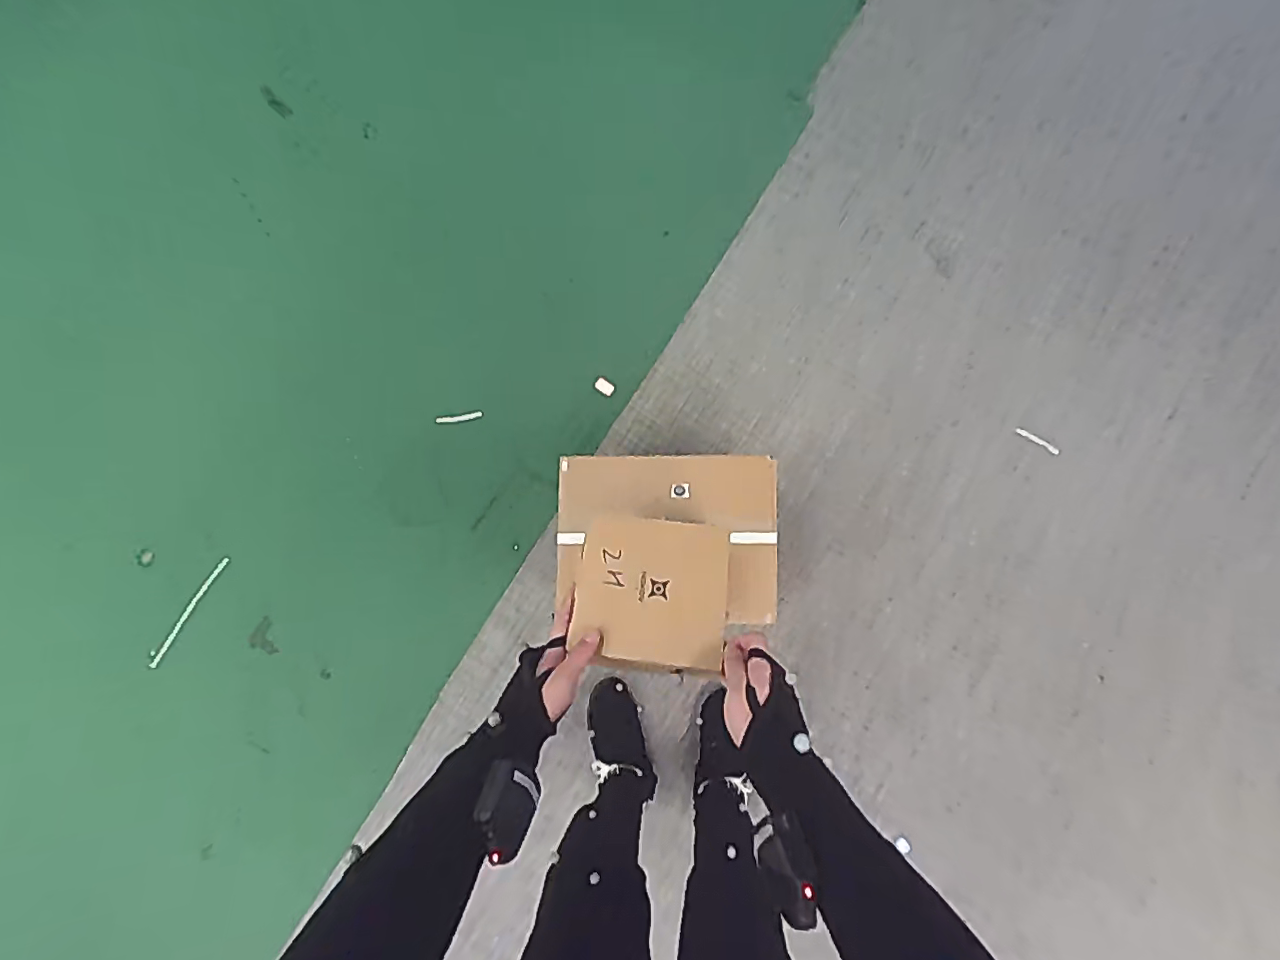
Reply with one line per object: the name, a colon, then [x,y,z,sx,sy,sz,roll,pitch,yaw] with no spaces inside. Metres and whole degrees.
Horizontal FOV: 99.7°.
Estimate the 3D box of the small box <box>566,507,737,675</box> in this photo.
small box: [0.017,0.148,0.681,0.179,0.176,0.168,7,67,4]
